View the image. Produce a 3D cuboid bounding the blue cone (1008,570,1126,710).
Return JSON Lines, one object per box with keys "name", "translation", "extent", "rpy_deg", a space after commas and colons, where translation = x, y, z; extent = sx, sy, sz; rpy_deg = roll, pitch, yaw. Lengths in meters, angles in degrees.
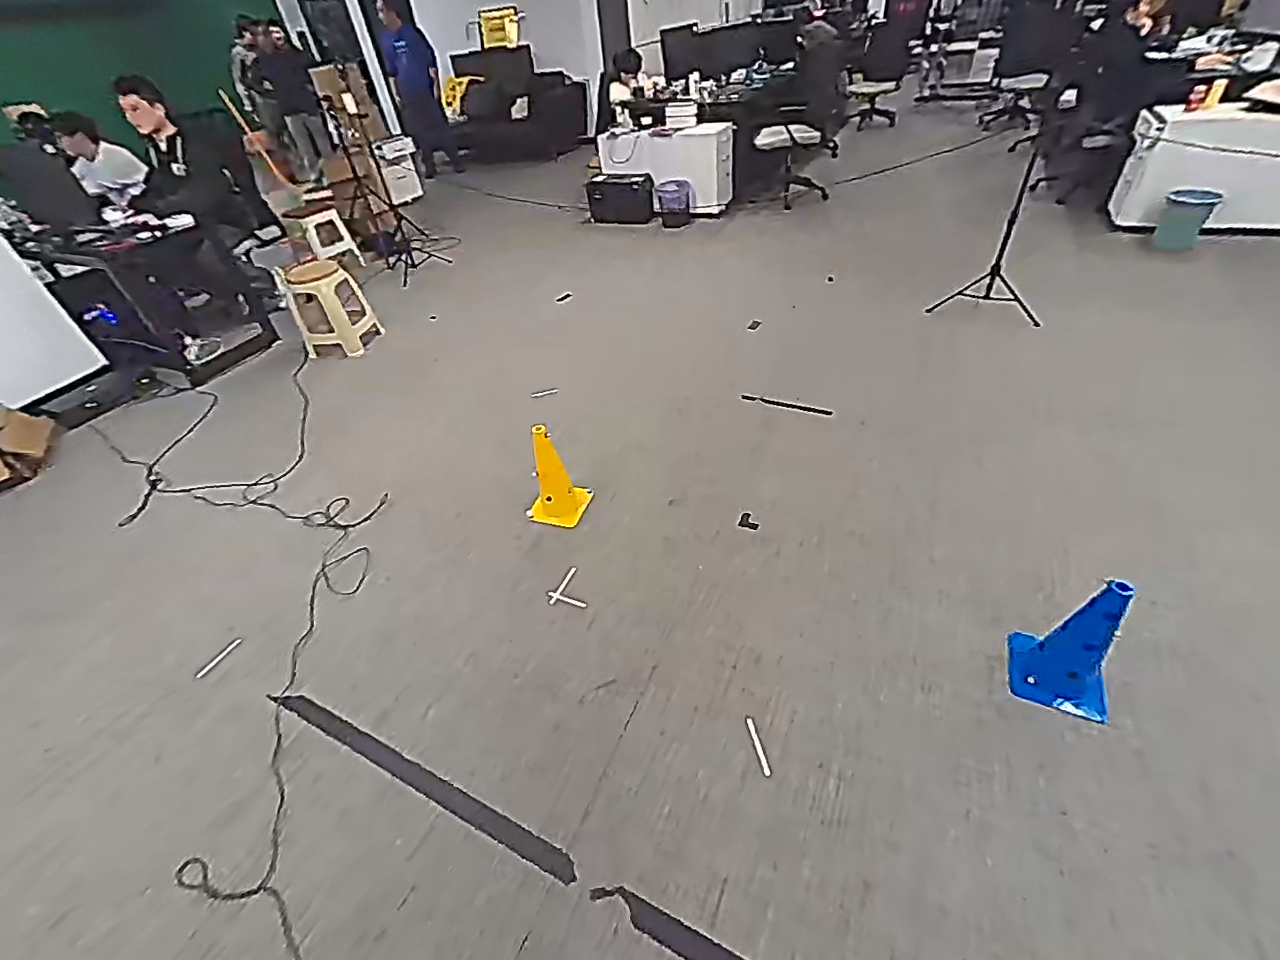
{"name": "blue cone", "translation": [1.025, 0.352, 1.258], "extent": [0.193, 0.380, 0.192], "rpy_deg": [14, 44, 24]}
